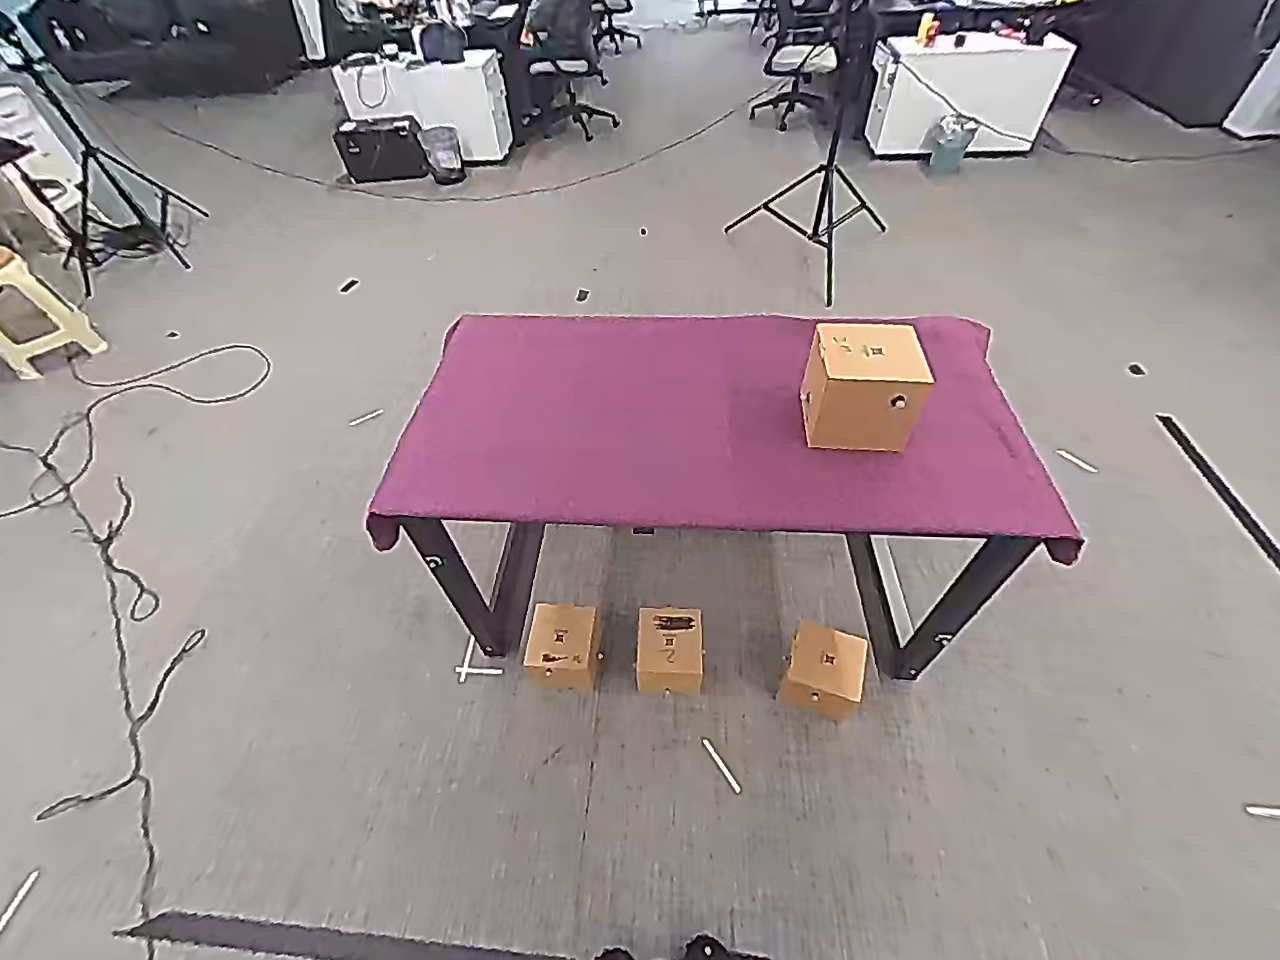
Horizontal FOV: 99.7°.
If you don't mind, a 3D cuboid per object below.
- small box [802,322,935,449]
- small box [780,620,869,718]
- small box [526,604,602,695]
[{"bbox_3d":[0.411,-0.173,1.007,0.179,0.176,0.168,2,49,6],"label":"small box"},{"bbox_3d":[0.473,0.493,1.396,0.179,0.176,0.168,14,53,16],"label":"small box"},{"bbox_3d":[-0.197,0.458,1.463,0.168,0.176,0.179,3,48,6],"label":"small box"}]
